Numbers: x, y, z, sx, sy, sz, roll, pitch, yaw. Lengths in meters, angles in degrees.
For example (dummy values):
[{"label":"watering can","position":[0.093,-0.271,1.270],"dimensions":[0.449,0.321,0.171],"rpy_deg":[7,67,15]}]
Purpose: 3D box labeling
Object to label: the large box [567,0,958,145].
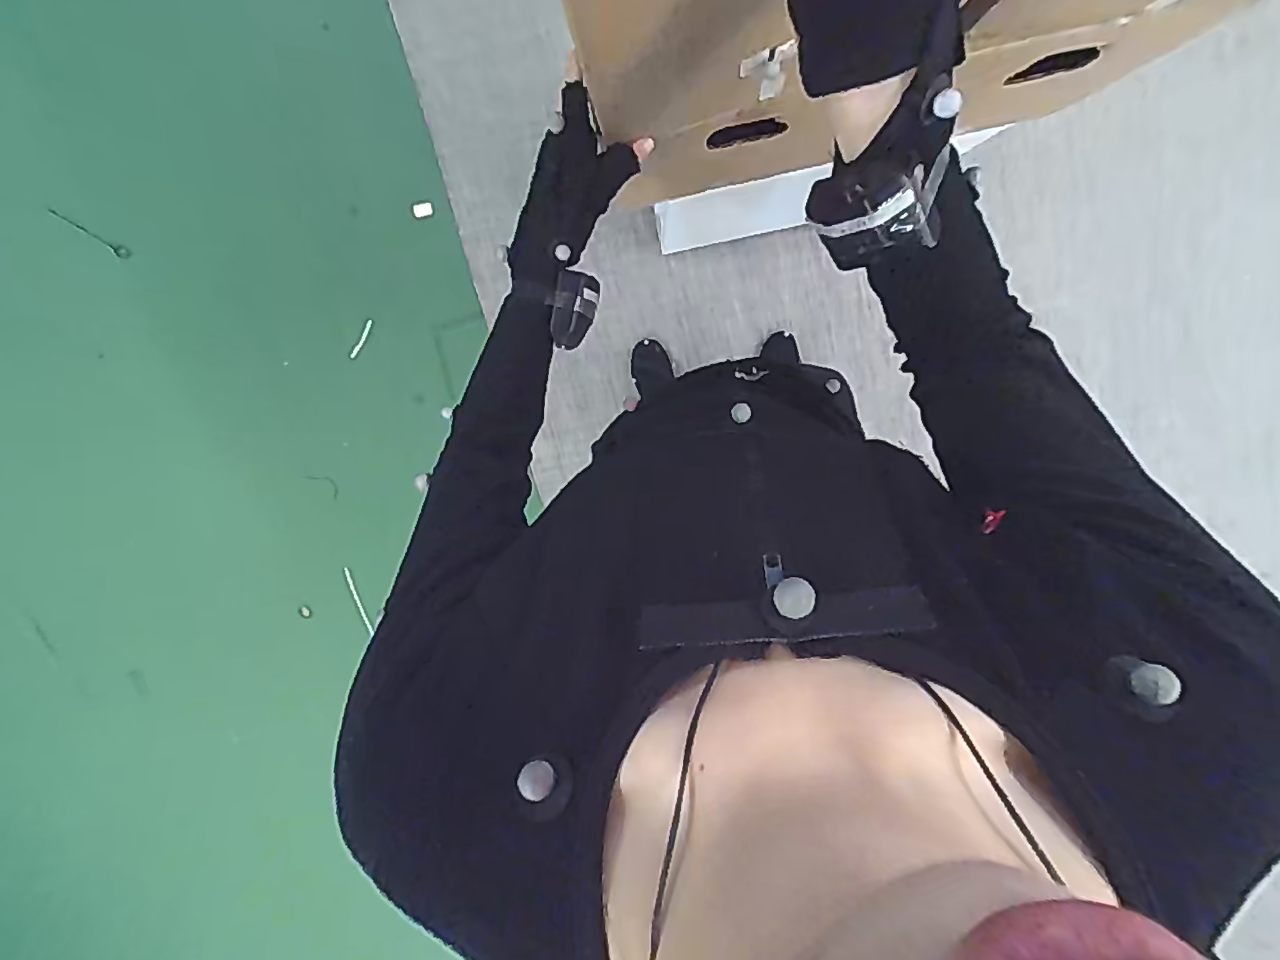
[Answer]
[{"label":"large box","position":[0.049,-0.495,0.296],"dimensions":[0.320,0.320,0.408],"rpy_deg":[-17,103,6]}]
